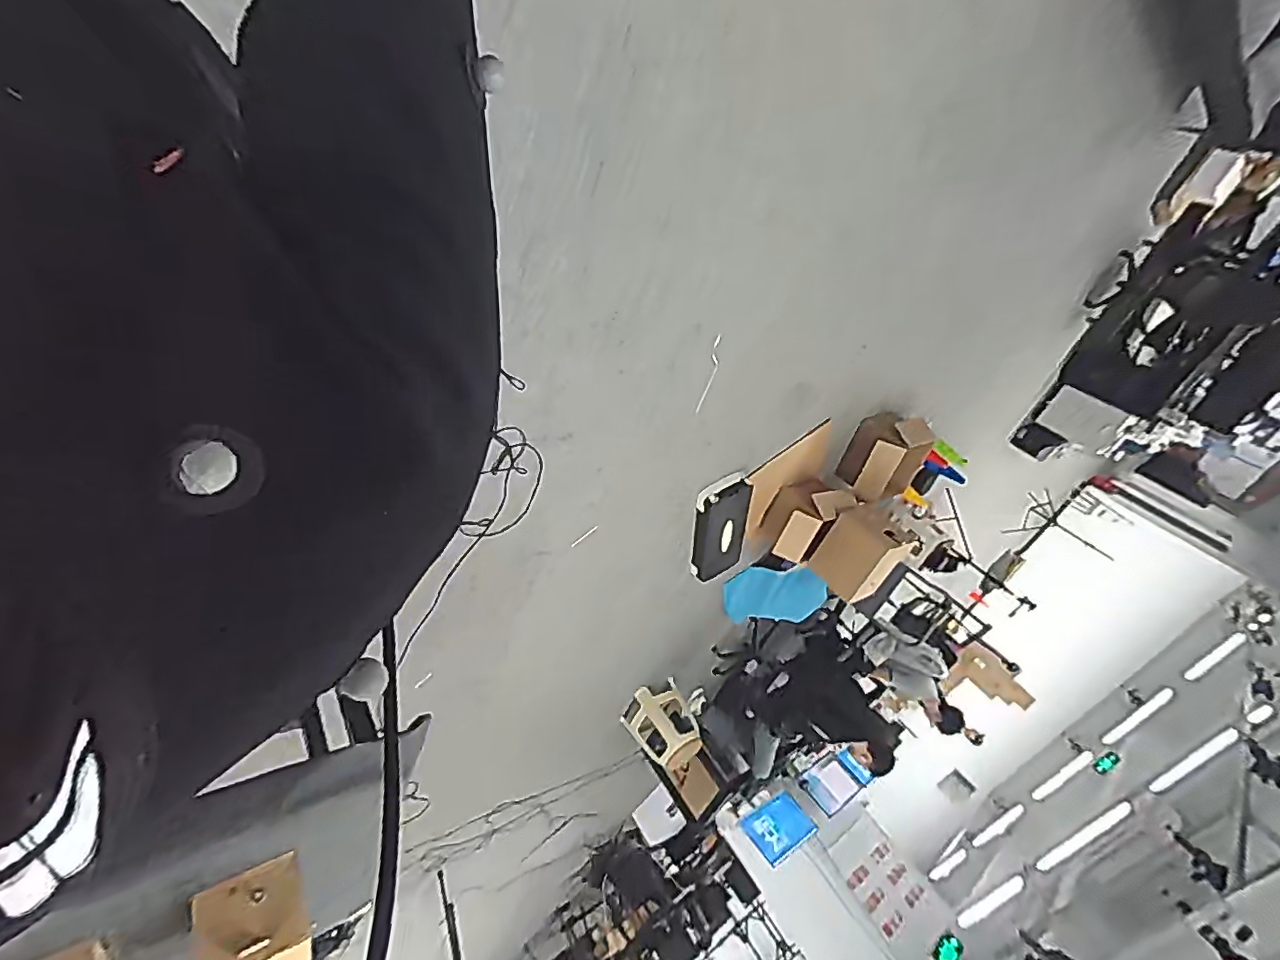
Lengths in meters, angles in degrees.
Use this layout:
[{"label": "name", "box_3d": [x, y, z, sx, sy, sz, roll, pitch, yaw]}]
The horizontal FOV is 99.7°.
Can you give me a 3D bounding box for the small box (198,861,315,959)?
[{"label": "small box", "box_3d": [-0.733, 0.883, 1.039, 0.168, 0.176, 0.179, -8, 130, -38]}]
